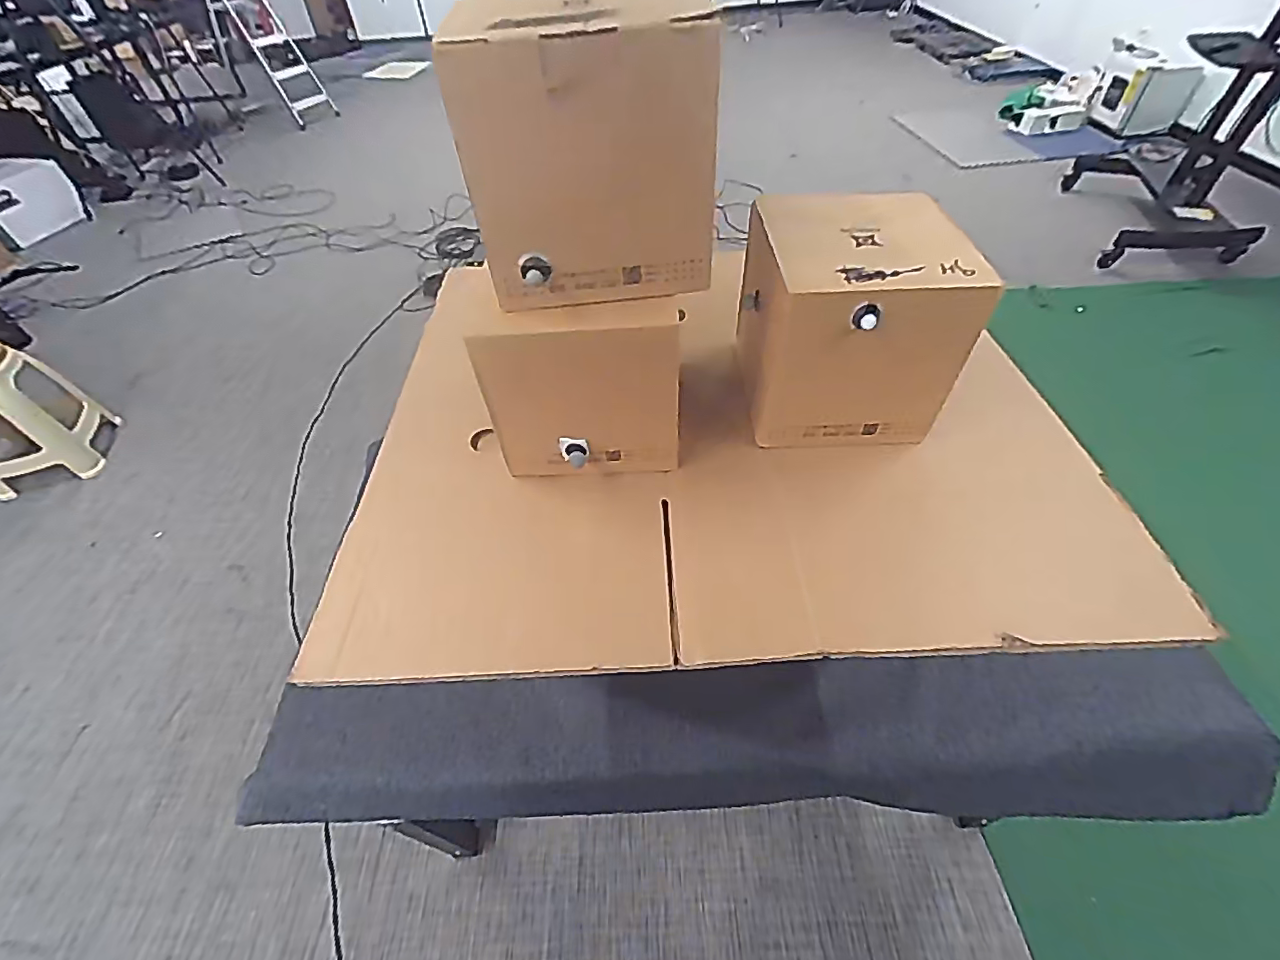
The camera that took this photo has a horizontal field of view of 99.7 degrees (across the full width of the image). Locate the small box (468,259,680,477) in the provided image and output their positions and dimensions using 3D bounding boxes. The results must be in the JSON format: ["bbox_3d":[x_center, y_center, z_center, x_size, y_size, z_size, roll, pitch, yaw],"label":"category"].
[{"bbox_3d":[-0.050,-0.123,0.527,0.168,0.176,0.179,-4,51,1],"label":"small box"}]

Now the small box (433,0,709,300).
[{"bbox_3d":[-0.040,-0.256,0.424,0.168,0.176,0.179,-6,48,-1],"label":"small box"}]

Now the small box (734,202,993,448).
[{"bbox_3d":[0.190,-0.151,0.528,0.168,0.176,0.179,-1,48,1],"label":"small box"}]
